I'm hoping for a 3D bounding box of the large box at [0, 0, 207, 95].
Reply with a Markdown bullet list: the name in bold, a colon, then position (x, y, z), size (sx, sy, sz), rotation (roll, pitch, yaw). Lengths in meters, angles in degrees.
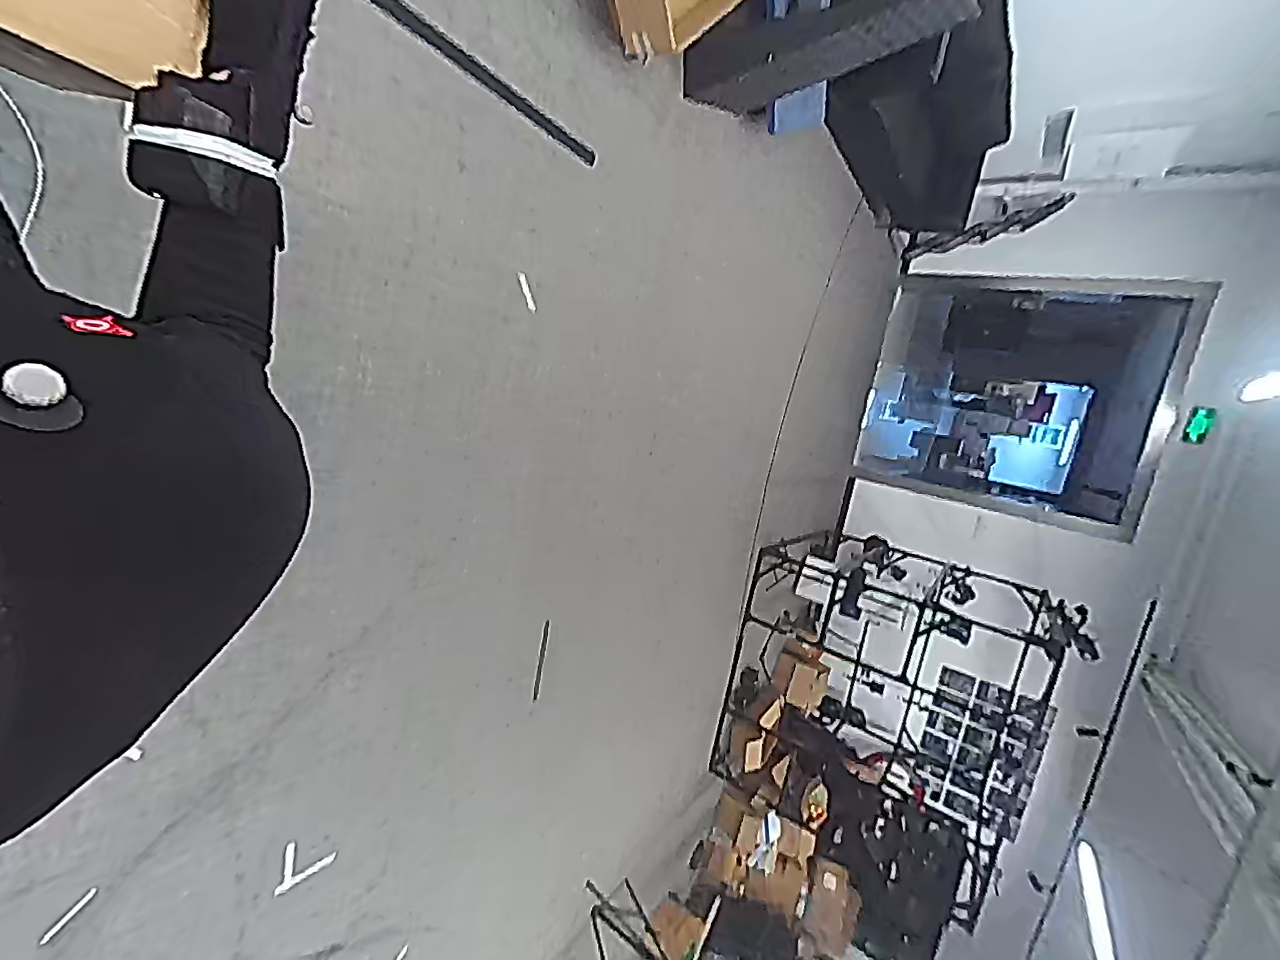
- **large box**: position (-0.490, -0.461, 0.247), size (0.408, 0.320, 0.320), rotation (-4, 118, -60)
